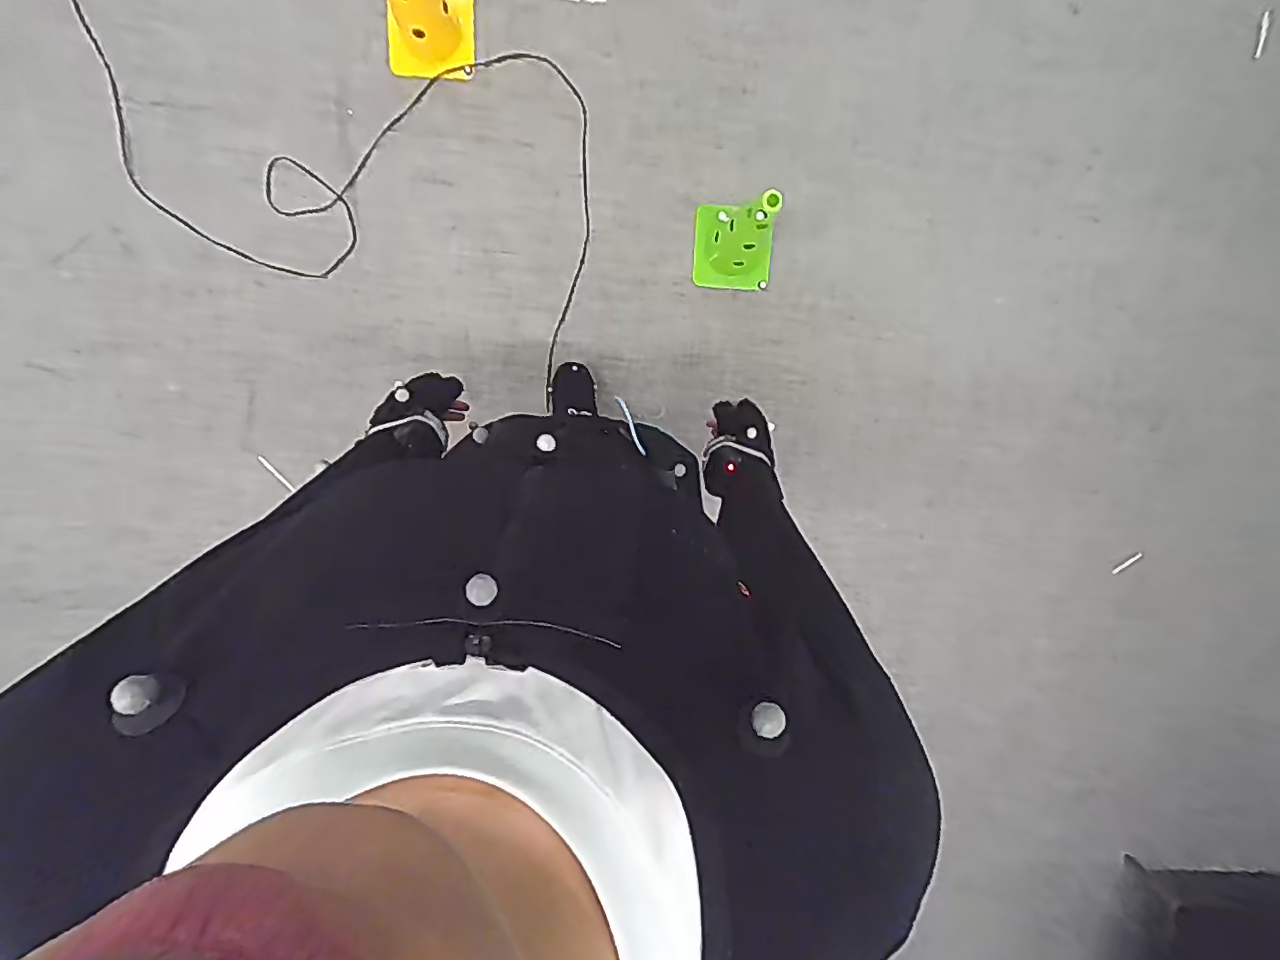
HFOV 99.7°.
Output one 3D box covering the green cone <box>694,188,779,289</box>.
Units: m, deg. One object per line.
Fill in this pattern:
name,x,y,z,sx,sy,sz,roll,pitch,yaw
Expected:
green cone,0.249,-0.574,1.219,0.202,0.368,0.200,3,98,-2
